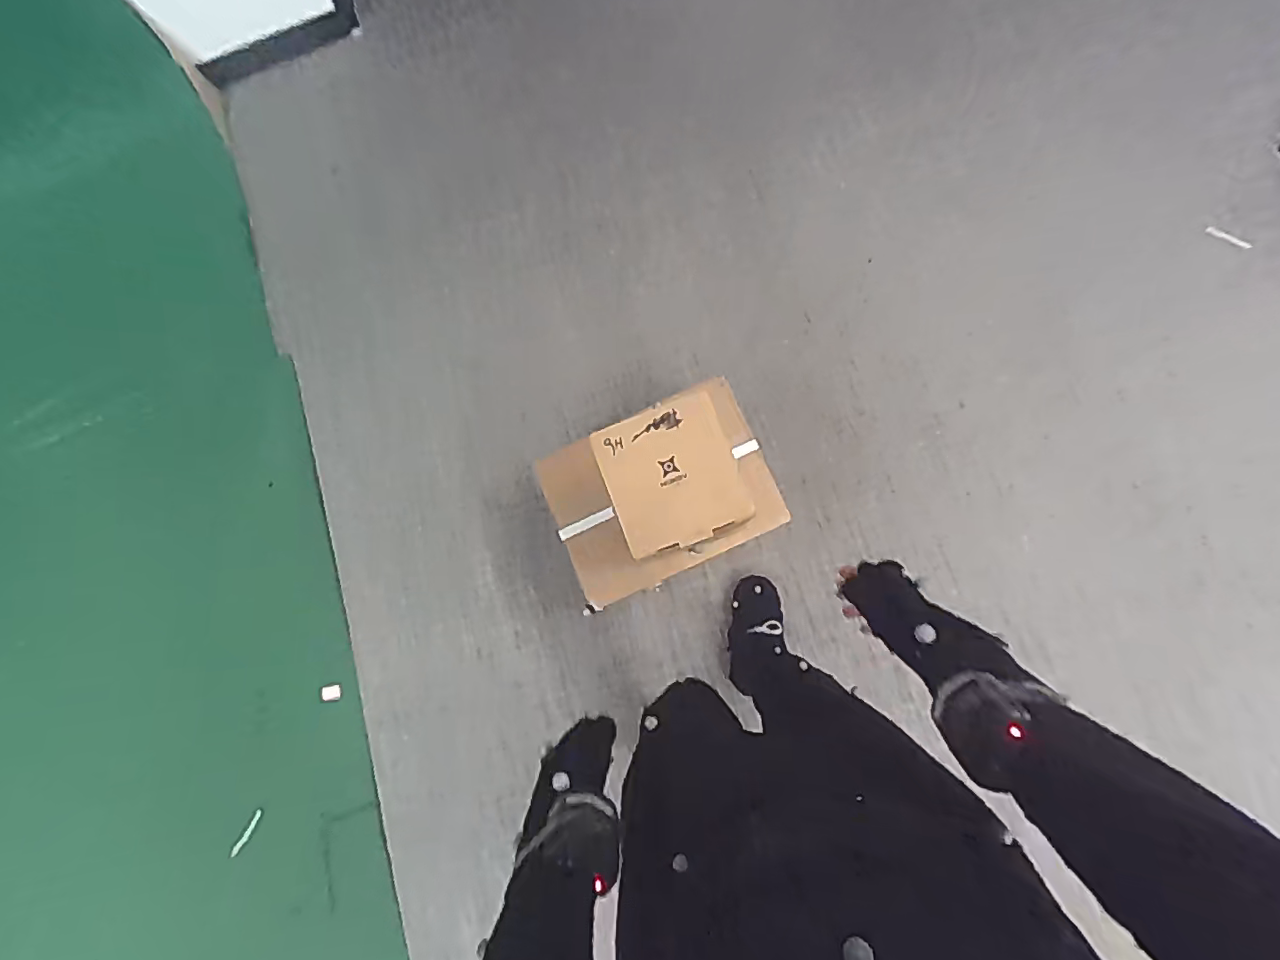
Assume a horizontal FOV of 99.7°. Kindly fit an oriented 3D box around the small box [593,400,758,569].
[{"bbox_3d":[0.052,0.014,0.759,0.168,0.176,0.179,-21,80,3],"label":"small box"}]
